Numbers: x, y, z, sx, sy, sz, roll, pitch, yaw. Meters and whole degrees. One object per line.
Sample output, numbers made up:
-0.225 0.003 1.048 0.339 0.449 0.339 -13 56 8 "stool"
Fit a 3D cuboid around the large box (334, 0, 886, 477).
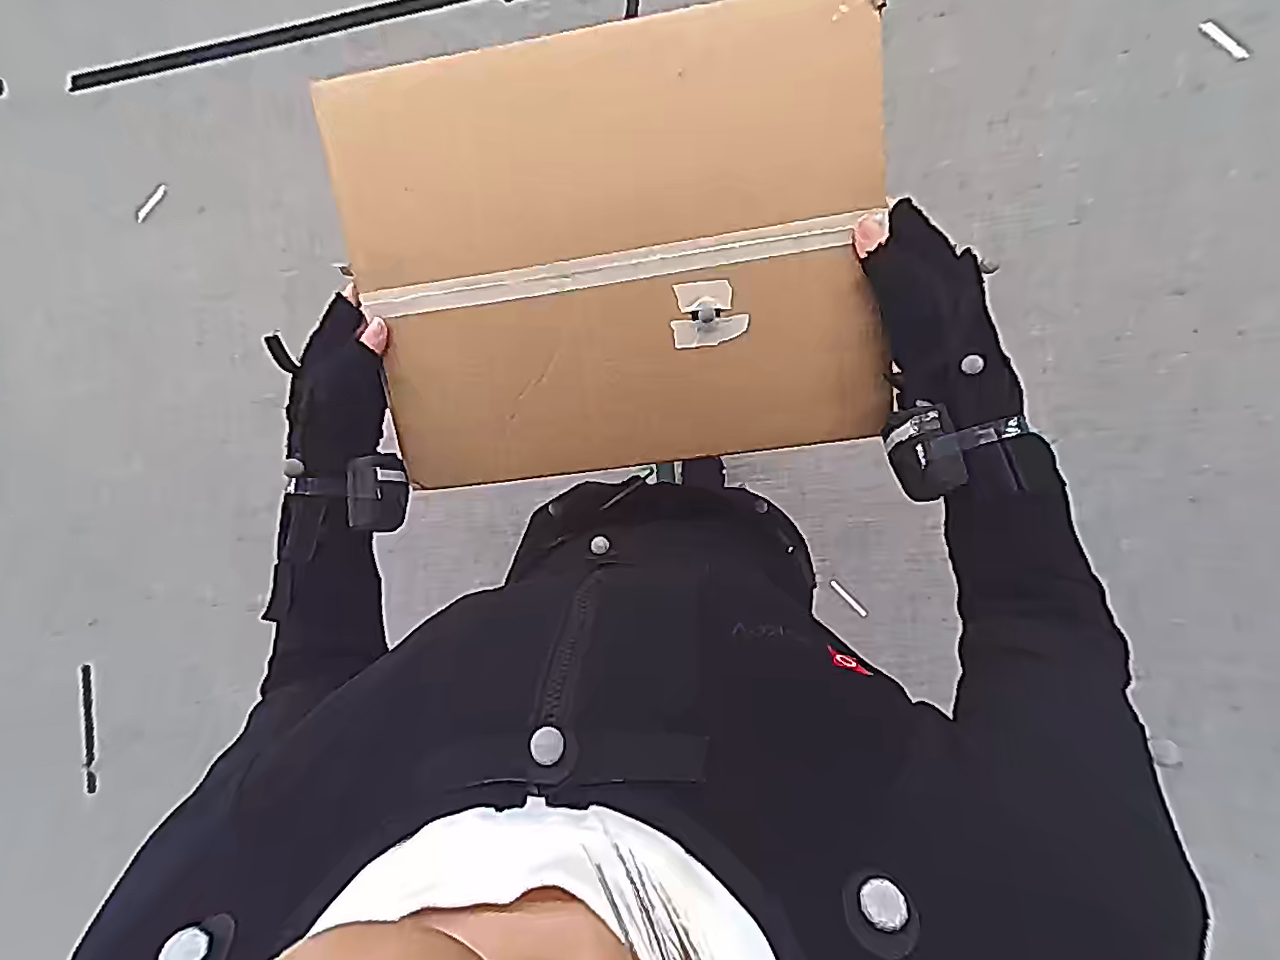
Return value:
-0.010 -0.212 0.569 0.408 0.320 0.320 -7 105 5 "large box"
